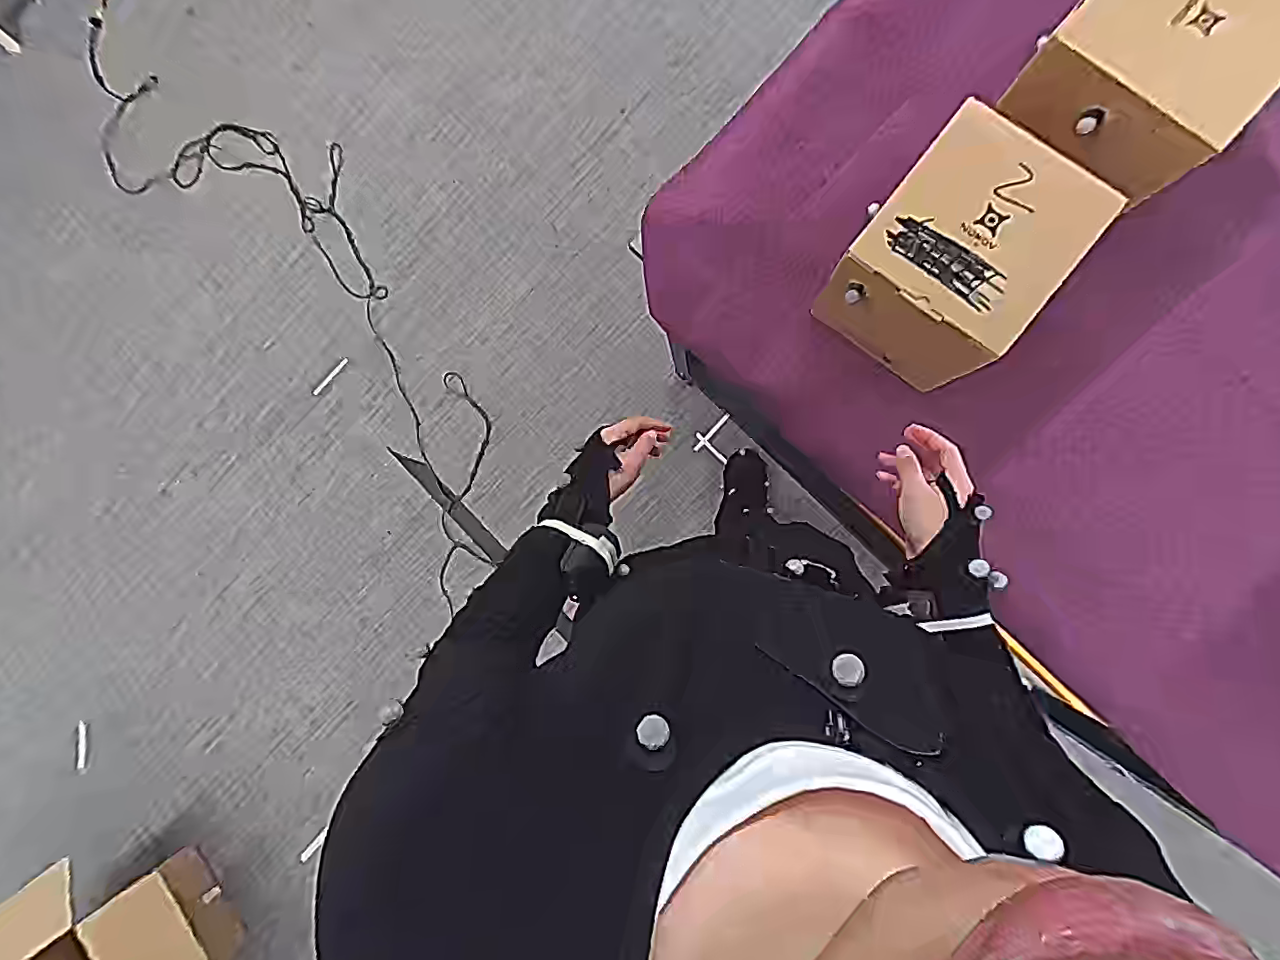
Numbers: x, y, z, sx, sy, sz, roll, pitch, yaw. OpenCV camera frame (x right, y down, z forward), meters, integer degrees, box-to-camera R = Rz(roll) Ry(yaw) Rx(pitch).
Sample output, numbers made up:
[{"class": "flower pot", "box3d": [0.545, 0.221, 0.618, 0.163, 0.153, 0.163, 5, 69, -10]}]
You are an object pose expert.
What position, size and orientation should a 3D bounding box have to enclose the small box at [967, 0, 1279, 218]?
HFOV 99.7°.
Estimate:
[{"class": "small box", "box3d": [0.486, -0.400, 0.545, 0.179, 0.176, 0.168, 41, 93, 5]}]
